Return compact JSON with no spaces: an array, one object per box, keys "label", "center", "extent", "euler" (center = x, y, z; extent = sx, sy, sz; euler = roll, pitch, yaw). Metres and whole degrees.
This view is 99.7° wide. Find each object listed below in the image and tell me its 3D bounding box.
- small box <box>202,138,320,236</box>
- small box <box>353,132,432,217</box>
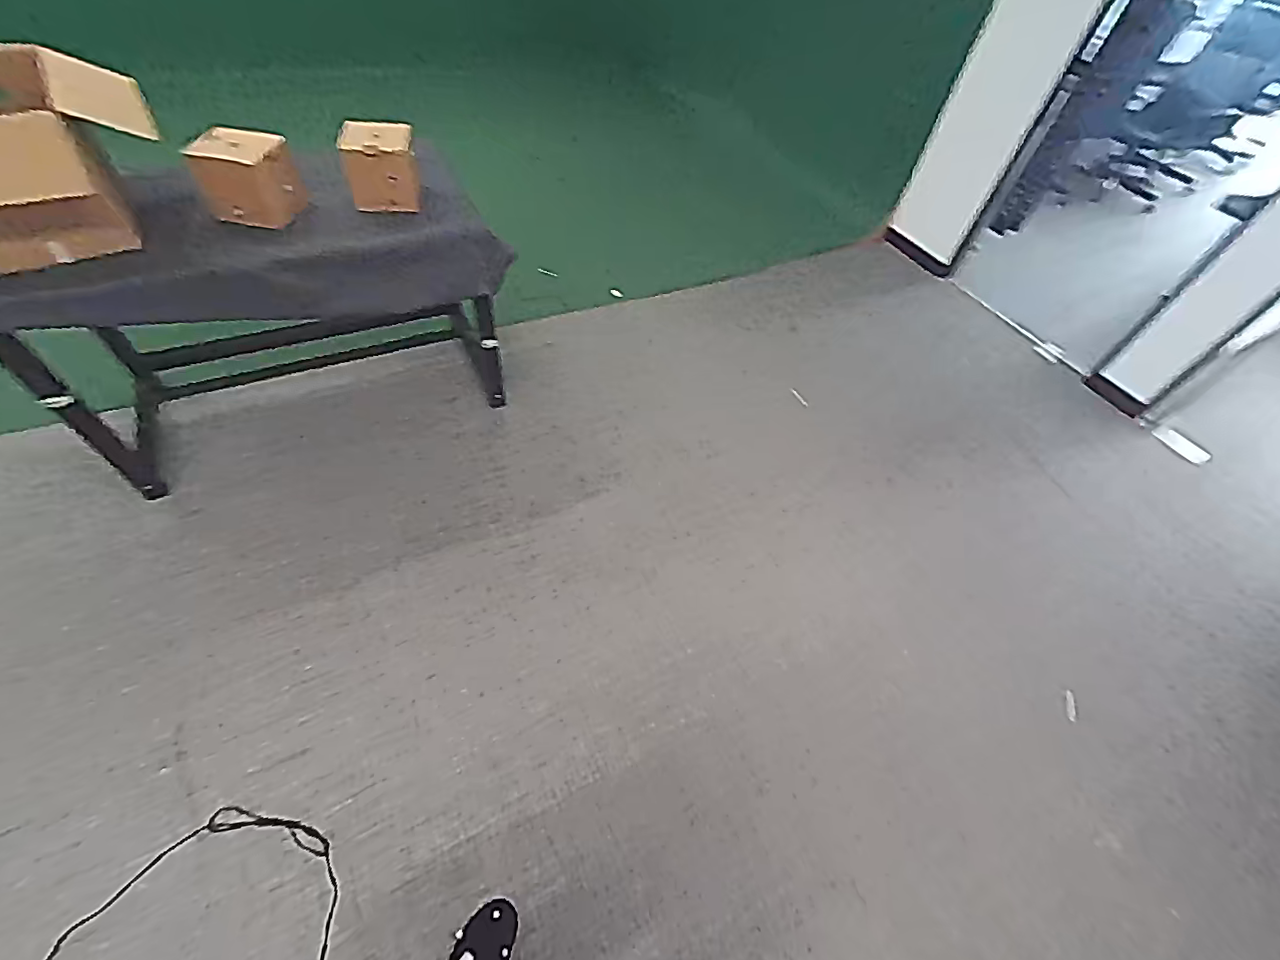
[{"label":"small box","center":[-1.007,-0.787,1.460],"extent":[0.179,0.176,0.168],"euler":[9,53,-1]},{"label":"small box","center":[-0.709,-0.883,1.569],"extent":[0.168,0.176,0.179],"euler":[-4,52,-11]}]
